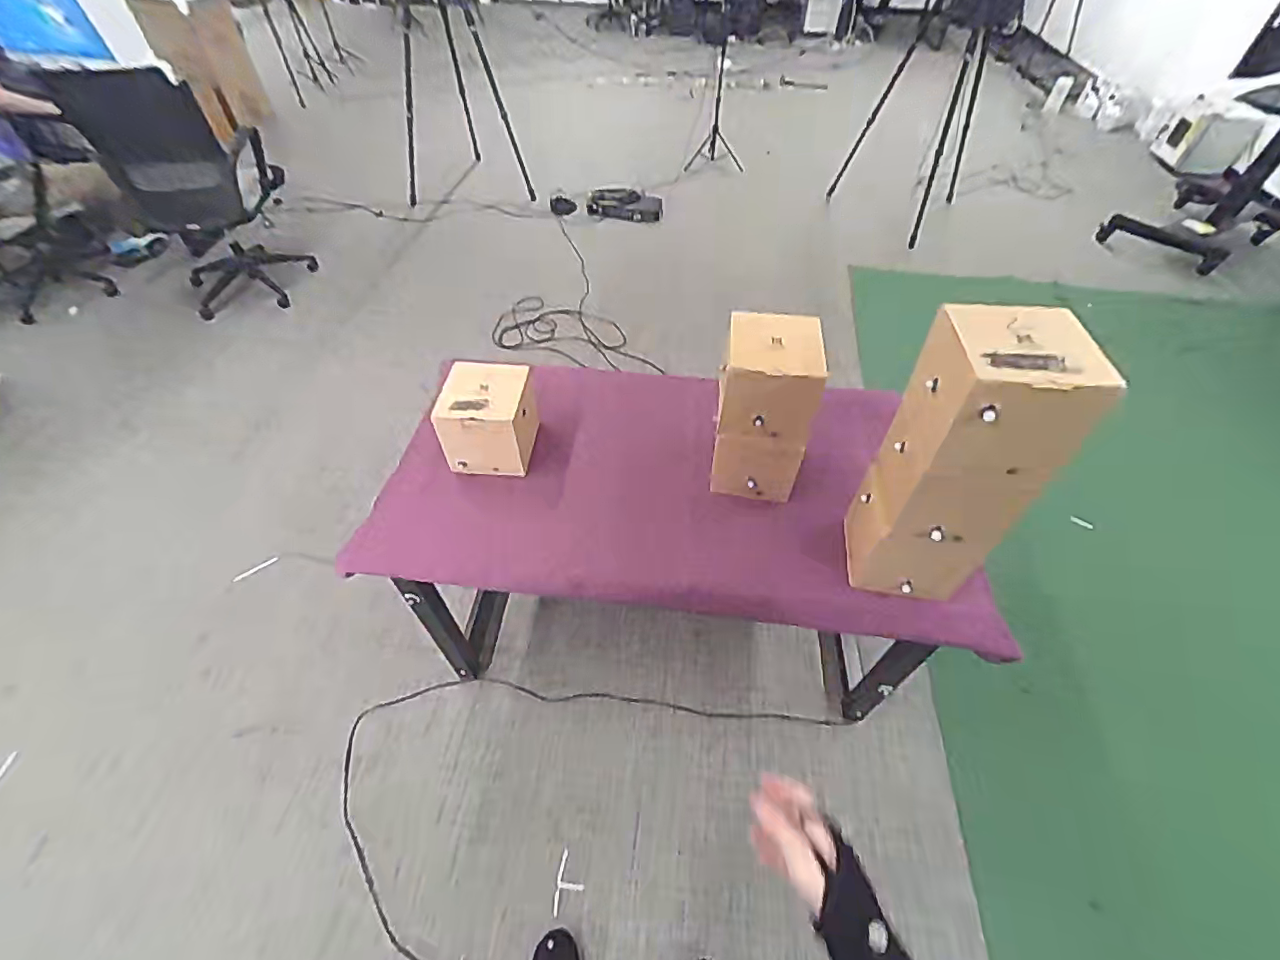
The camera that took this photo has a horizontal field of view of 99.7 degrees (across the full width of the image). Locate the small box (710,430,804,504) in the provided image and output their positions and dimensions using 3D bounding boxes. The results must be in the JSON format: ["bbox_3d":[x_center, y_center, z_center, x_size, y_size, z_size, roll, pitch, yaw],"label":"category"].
[{"bbox_3d":[0.243,-0.076,1.140,0.168,0.176,0.179,9,51,7],"label":"small box"}]

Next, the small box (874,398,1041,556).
[{"bbox_3d":[0.491,-0.005,0.871,0.168,0.176,0.179,7,49,8],"label":"small box"}]

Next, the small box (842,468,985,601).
[{"bbox_3d":[0.487,0.103,0.992,0.179,0.176,0.168,9,49,6],"label":"small box"}]

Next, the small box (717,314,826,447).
[{"bbox_3d":[0.240,-0.185,1.019,0.168,0.176,0.179,6,51,4],"label":"small box"}]

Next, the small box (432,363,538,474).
[{"bbox_3d":[-0.323,-0.130,1.170,0.168,0.176,0.179,4,49,1],"label":"small box"}]
